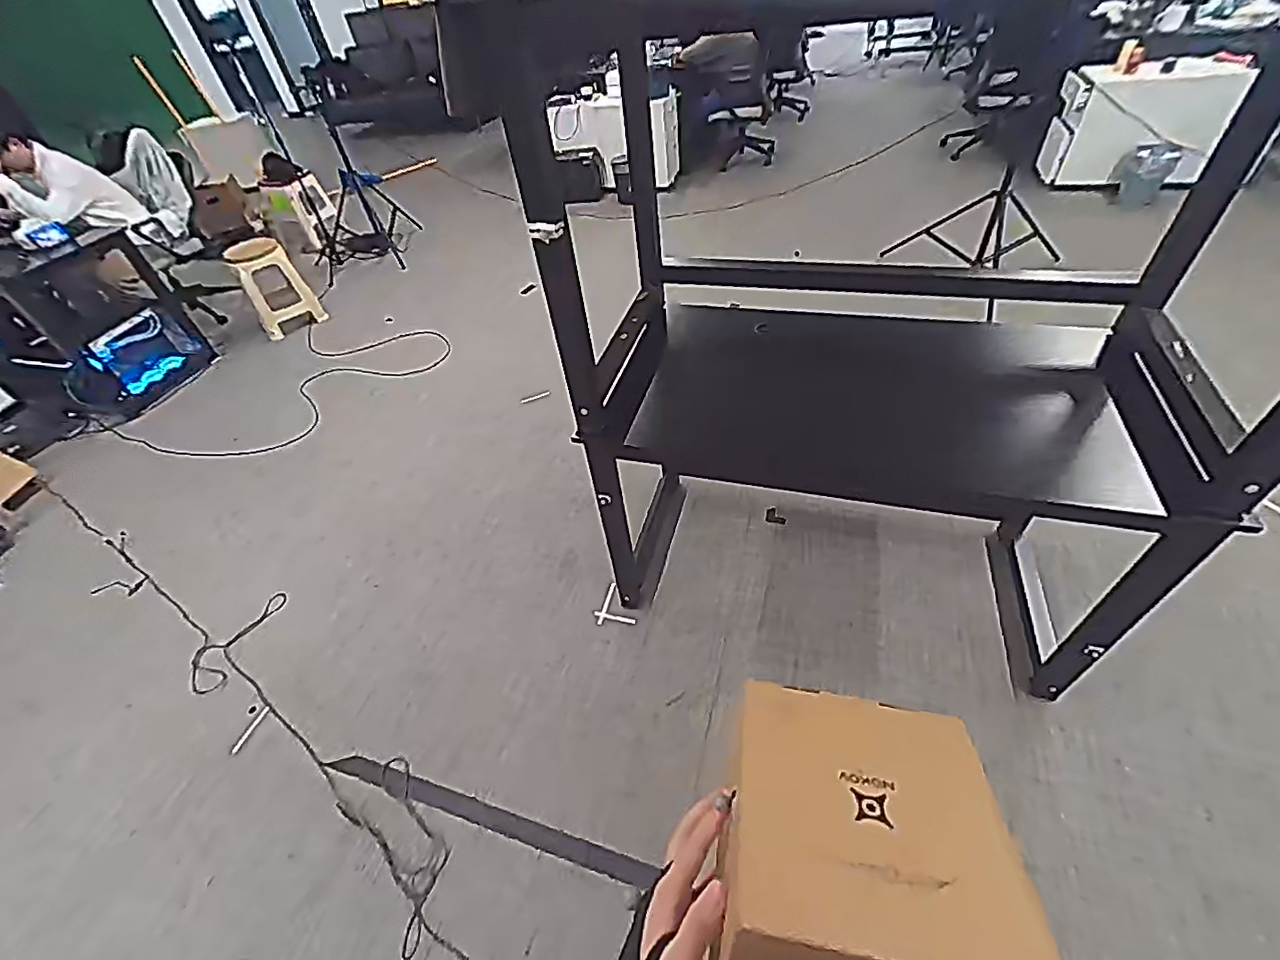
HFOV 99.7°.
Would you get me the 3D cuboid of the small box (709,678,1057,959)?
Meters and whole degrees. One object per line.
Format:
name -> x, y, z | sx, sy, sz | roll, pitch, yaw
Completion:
small box -> 0.141, 0.278, 0.382 | 0.168, 0.176, 0.179 | 7, 27, 8
